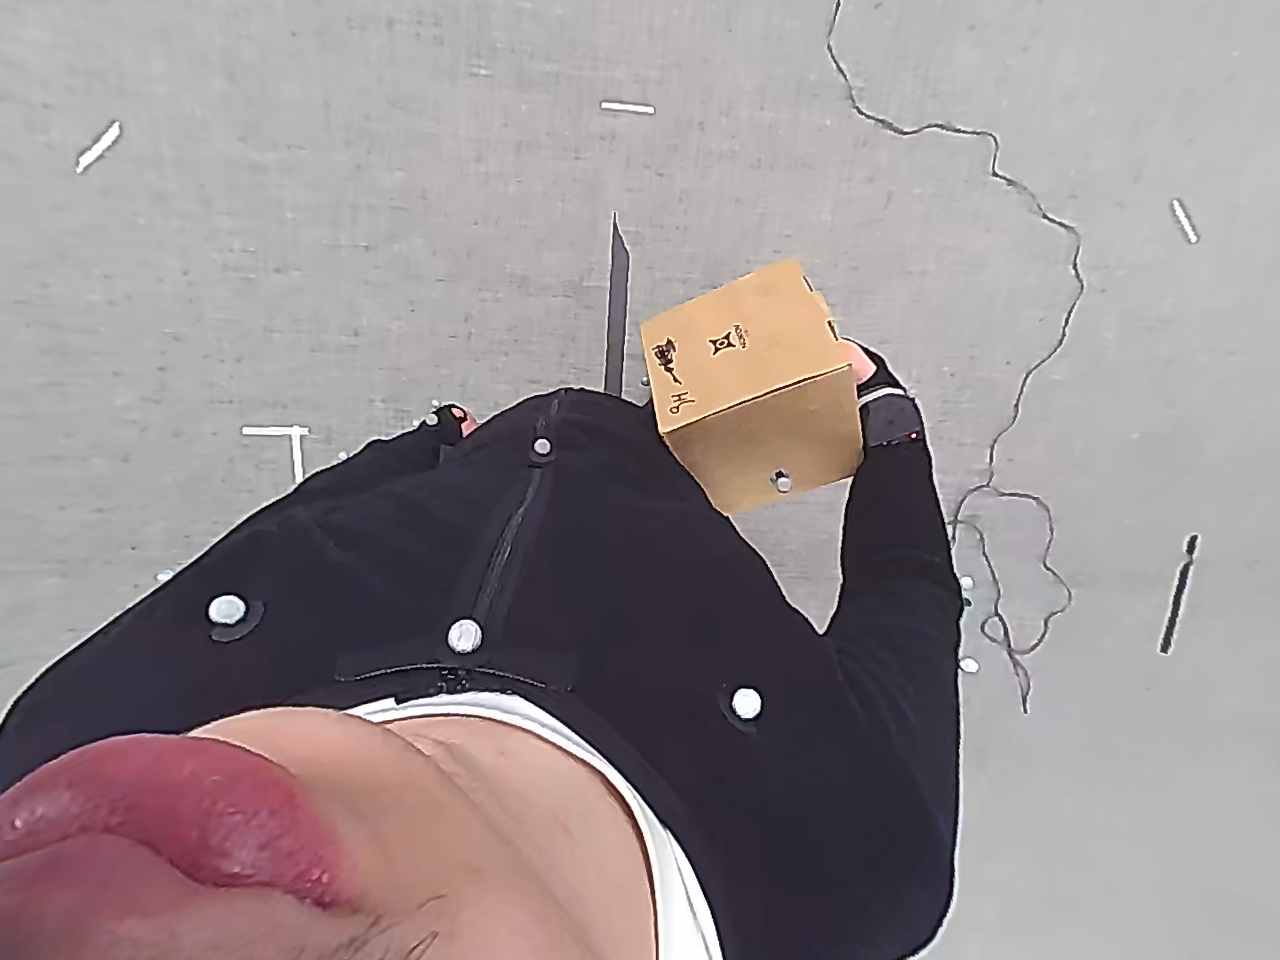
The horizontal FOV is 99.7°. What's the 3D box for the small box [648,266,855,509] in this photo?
[{"bbox_3d":[0.126,-0.094,0.599,0.179,0.168,0.176,-19,140,13],"label":"small box"}]
